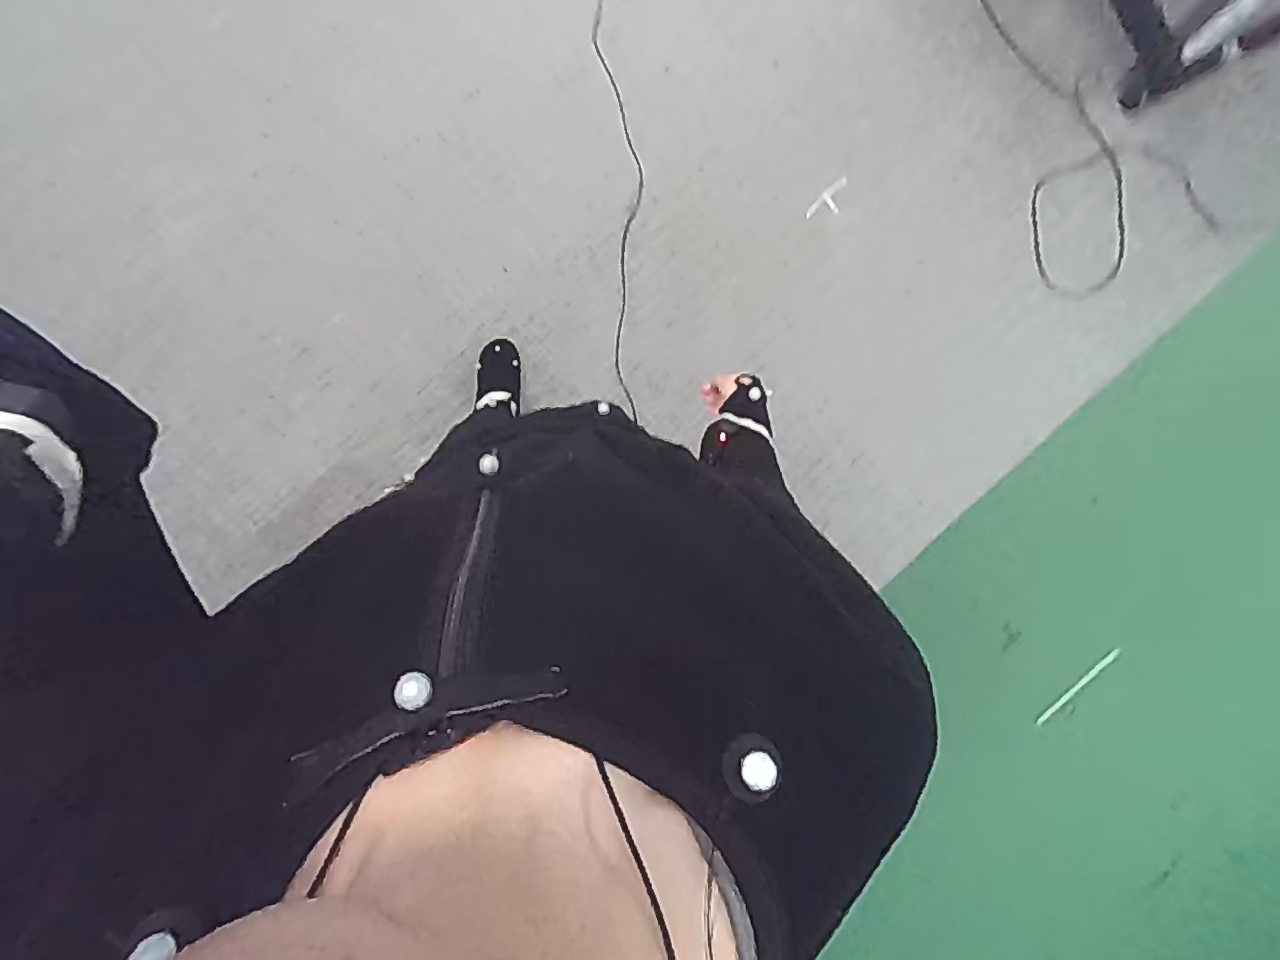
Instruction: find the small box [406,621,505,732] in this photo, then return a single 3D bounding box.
[{"bbox_3d":[-0.469,0.499,1.403,0.179,0.176,0.168,-44,103,-2],"label":"small box"}]
